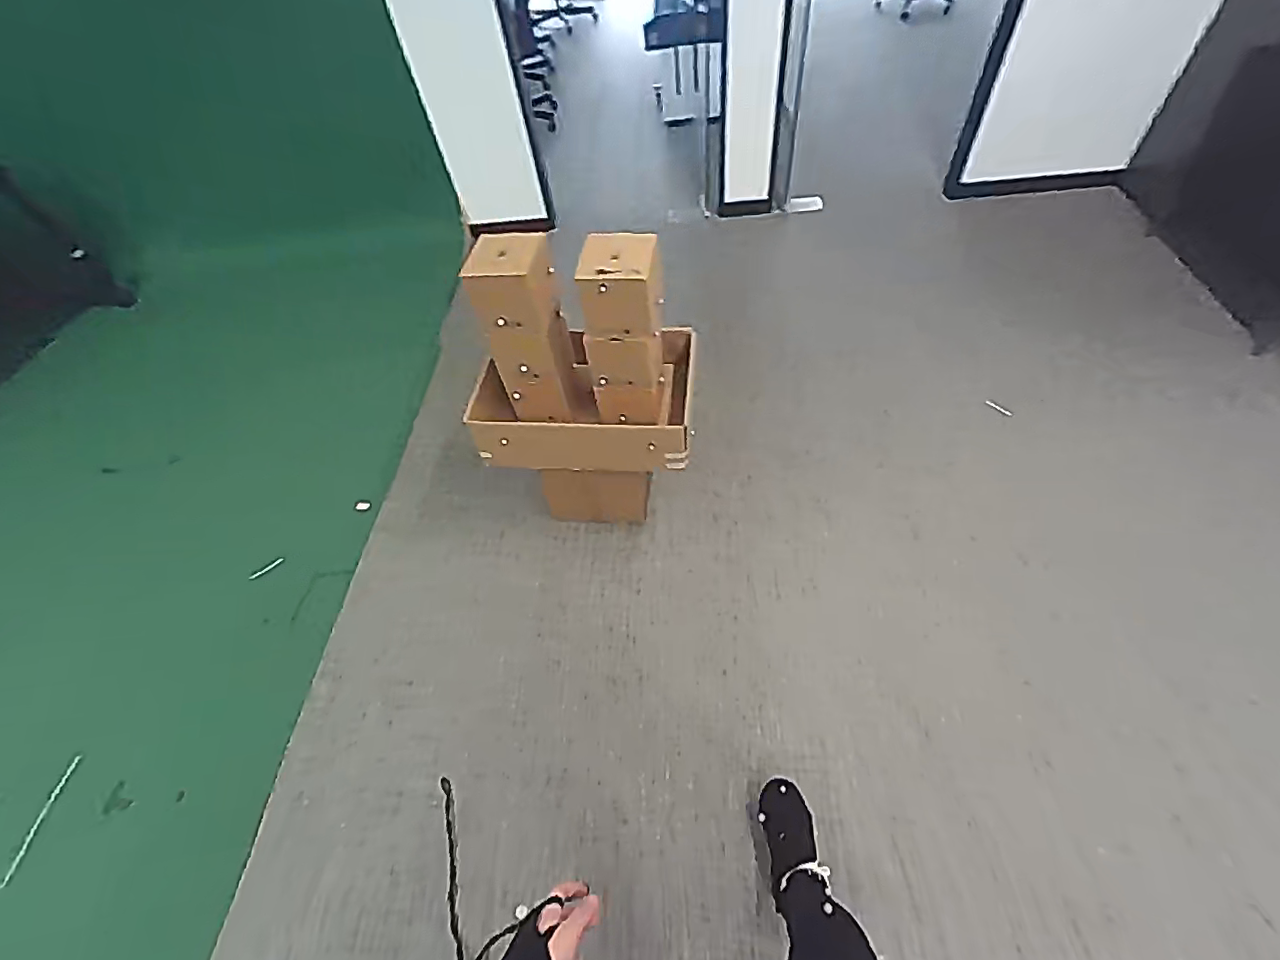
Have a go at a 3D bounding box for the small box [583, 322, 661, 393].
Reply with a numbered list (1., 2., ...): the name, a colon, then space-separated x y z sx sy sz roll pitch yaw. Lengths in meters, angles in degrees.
1. small box: -0.038 -0.347 1.416 0.168 0.176 0.179 4 54 10

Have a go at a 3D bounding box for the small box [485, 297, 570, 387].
1. small box: -0.296 -0.376 1.468 0.168 0.176 0.179 2 54 9

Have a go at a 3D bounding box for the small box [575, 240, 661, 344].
1. small box: -0.043 -0.448 1.287 0.168 0.176 0.179 4 54 10

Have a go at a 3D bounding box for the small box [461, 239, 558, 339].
1. small box: -0.312 -0.472 1.338 0.168 0.176 0.179 2 54 10

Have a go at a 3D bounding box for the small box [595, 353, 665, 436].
1. small box: -0.022 -0.249 1.548 0.168 0.176 0.179 3 55 10
